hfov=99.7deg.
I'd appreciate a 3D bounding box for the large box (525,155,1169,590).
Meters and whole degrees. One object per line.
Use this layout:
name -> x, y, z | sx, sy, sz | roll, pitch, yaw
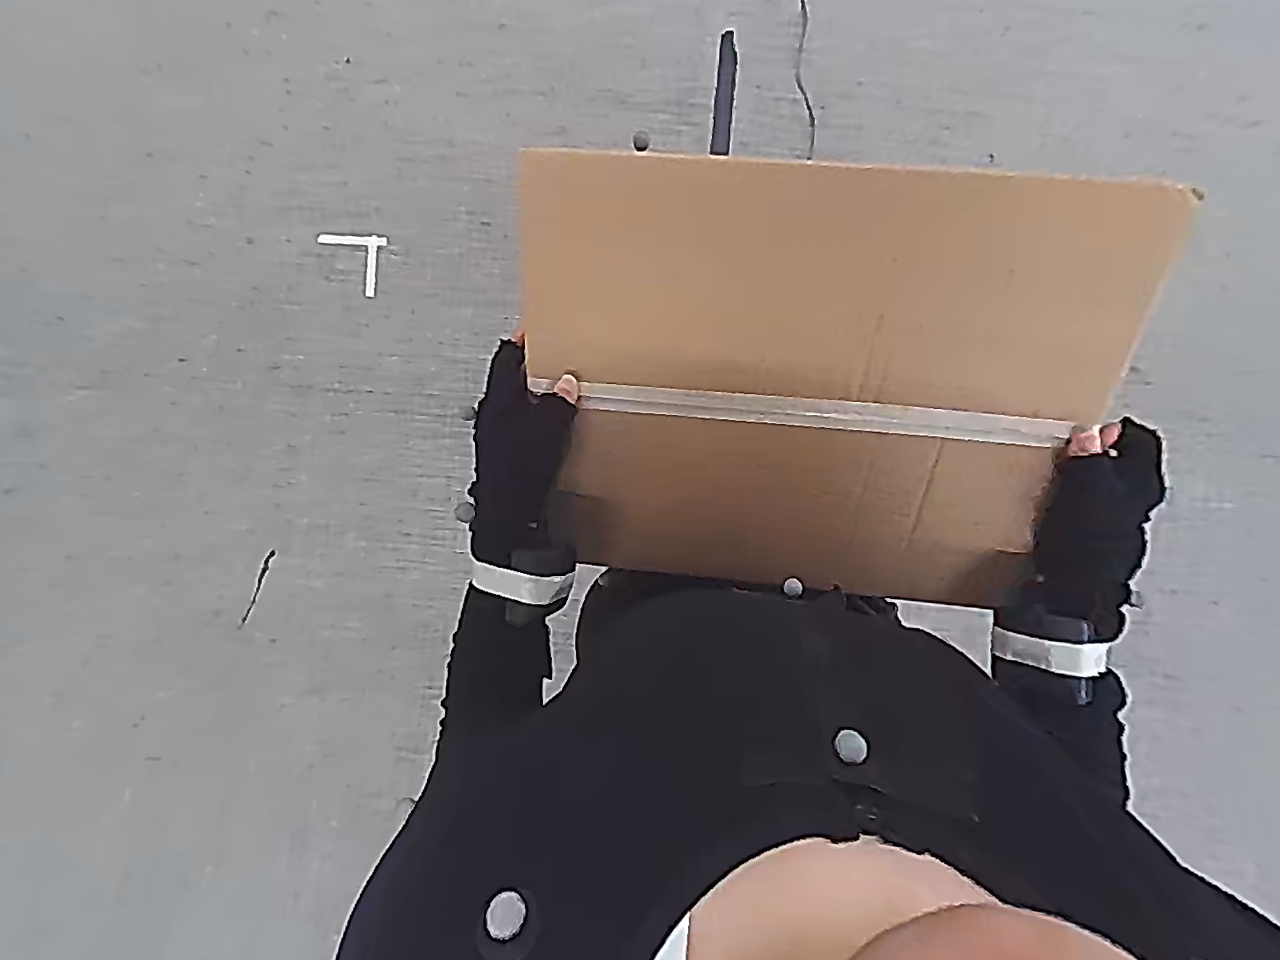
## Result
large box -> 0.130, -0.124, 0.538 | 0.408, 0.320, 0.320 | 6, 118, 4
